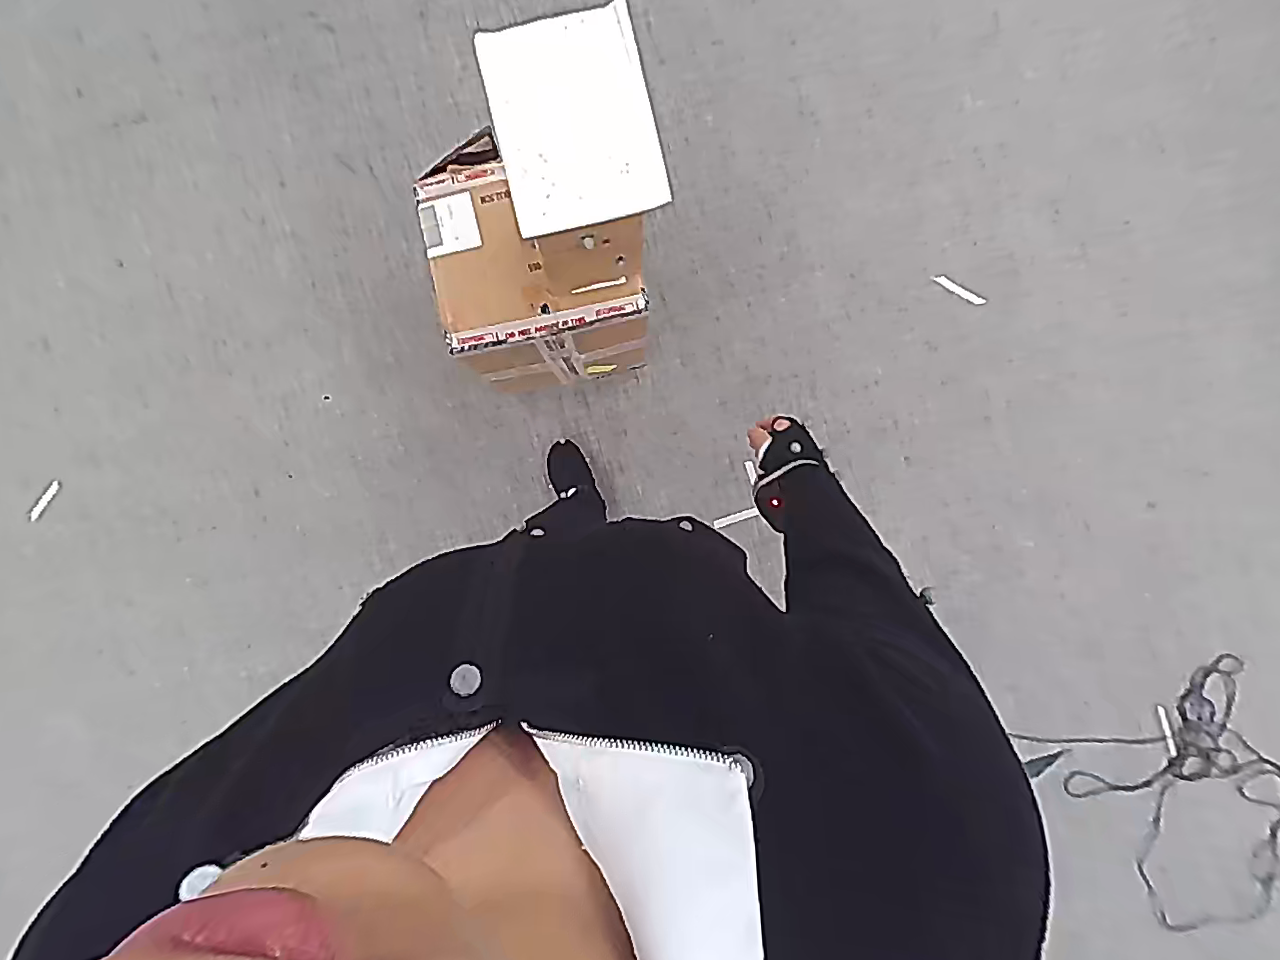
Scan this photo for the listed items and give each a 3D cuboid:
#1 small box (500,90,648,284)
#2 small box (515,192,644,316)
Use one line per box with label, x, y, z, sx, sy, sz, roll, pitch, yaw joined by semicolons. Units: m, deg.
small box;-0.091;-0.413;0.787;0.168;0.176;0.179;-14;91;-2
small box;-0.101;-0.410;0.952;0.179;0.176;0.168;-17;90;-2
